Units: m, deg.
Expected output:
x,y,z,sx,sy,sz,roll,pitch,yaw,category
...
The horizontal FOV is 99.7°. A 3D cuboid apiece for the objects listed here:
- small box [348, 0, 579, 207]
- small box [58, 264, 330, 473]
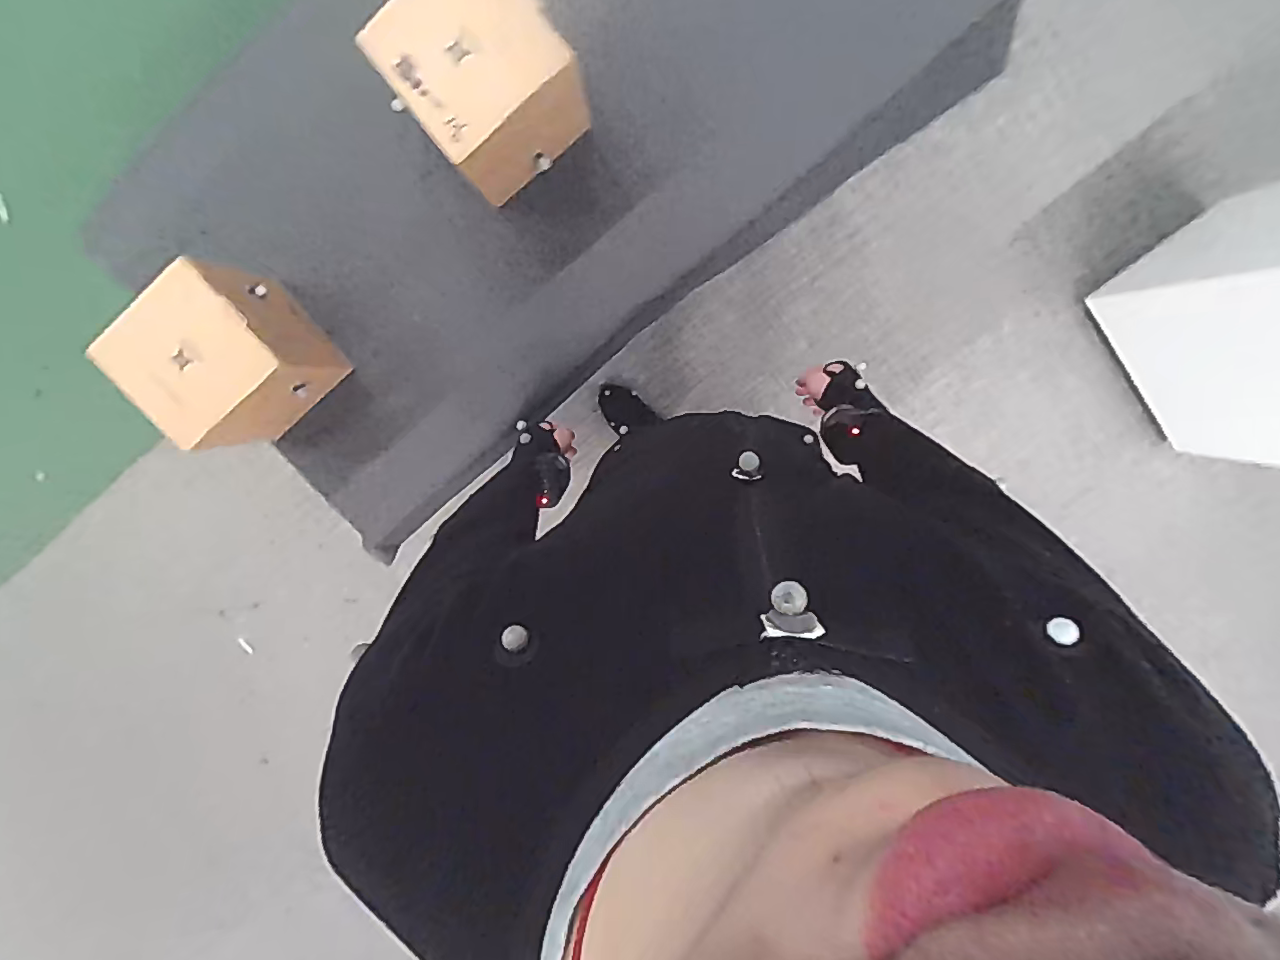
x,y,z,sx,sy,sz,roll,pitch,yaw,category
-0.186,-0.464,0.633,0.179,0.176,0.168,-39,99,5,small box
-0.535,-0.136,0.684,0.179,0.176,0.168,-41,97,7,small box
